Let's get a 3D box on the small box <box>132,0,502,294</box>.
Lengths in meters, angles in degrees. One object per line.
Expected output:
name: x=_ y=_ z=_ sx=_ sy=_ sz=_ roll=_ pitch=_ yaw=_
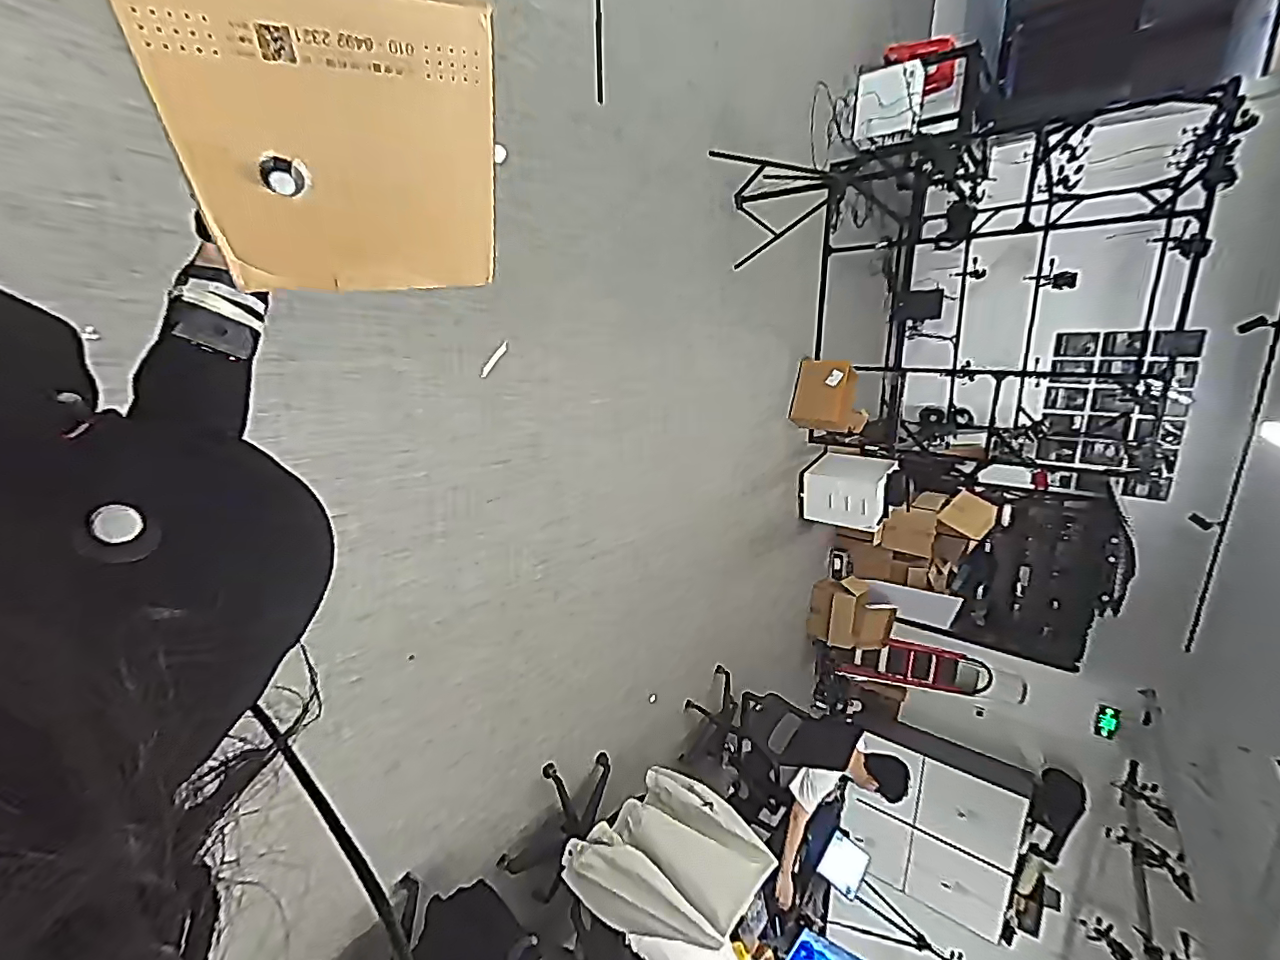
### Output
small box: x=-0.188 y=-0.245 z=0.350 sx=0.168 sy=0.179 sz=0.176 roll=-8 pitch=147 yaw=-23
